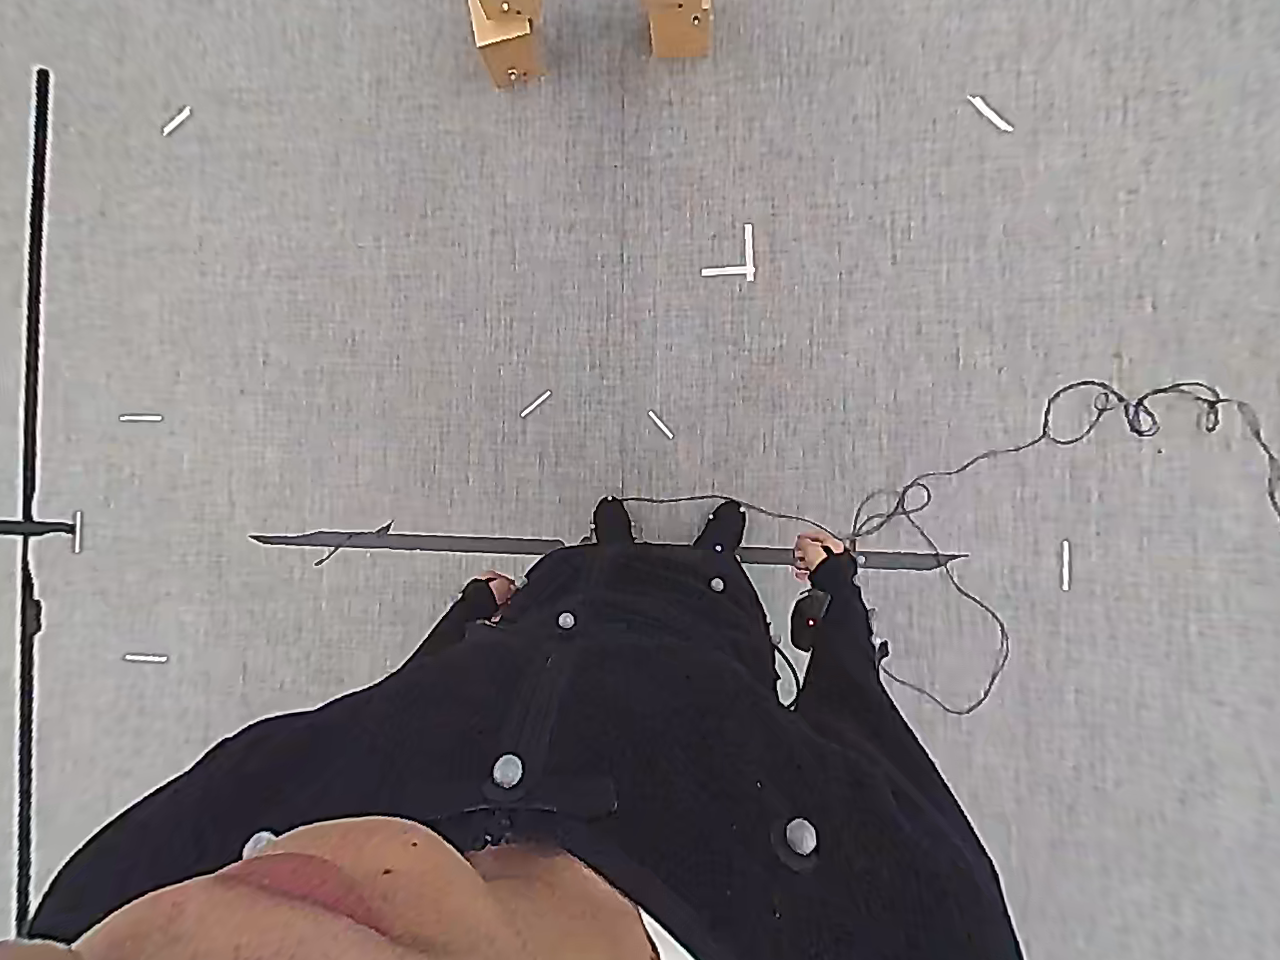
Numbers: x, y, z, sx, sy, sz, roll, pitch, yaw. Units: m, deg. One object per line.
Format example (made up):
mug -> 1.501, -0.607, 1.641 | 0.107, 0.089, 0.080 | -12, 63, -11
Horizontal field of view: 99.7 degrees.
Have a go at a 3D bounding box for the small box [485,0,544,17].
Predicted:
small box -> -0.355, -1.411, 1.463 | 0.168, 0.176, 0.179 | 4, 89, 7

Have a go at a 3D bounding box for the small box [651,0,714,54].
small box -> 0.126, -1.386, 1.578 | 0.179, 0.176, 0.168 | 1, 89, 5

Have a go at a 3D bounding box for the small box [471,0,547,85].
small box -> -0.391, -1.349, 1.629 | 0.168, 0.176, 0.179 | -10, 88, 6
